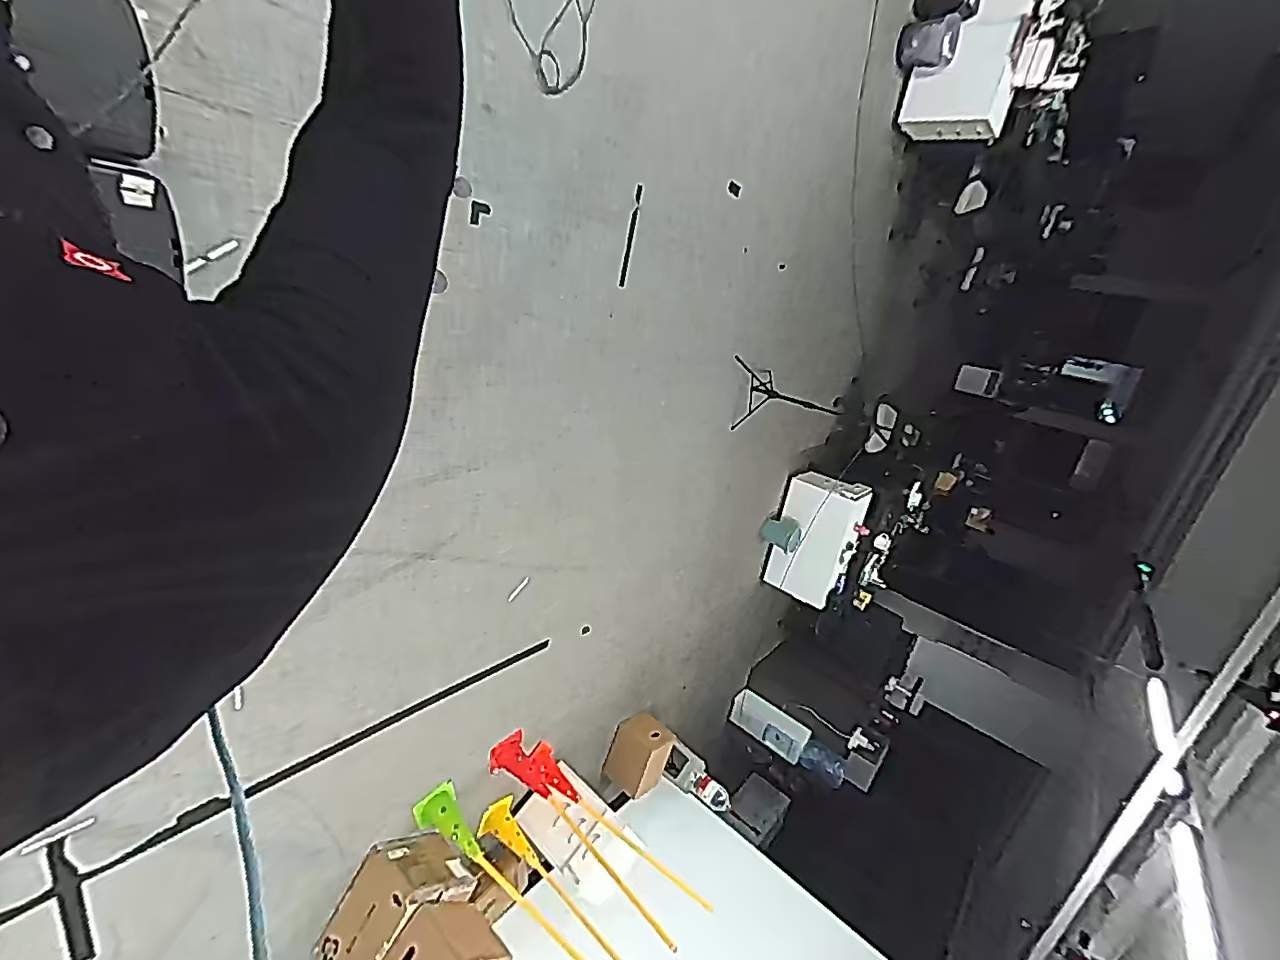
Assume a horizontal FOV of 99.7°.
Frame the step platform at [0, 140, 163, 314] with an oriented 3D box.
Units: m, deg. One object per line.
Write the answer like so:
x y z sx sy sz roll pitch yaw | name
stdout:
-1.233 -0.435 0.882 0.684 0.204 0.286 -15 122 -47 | step platform
